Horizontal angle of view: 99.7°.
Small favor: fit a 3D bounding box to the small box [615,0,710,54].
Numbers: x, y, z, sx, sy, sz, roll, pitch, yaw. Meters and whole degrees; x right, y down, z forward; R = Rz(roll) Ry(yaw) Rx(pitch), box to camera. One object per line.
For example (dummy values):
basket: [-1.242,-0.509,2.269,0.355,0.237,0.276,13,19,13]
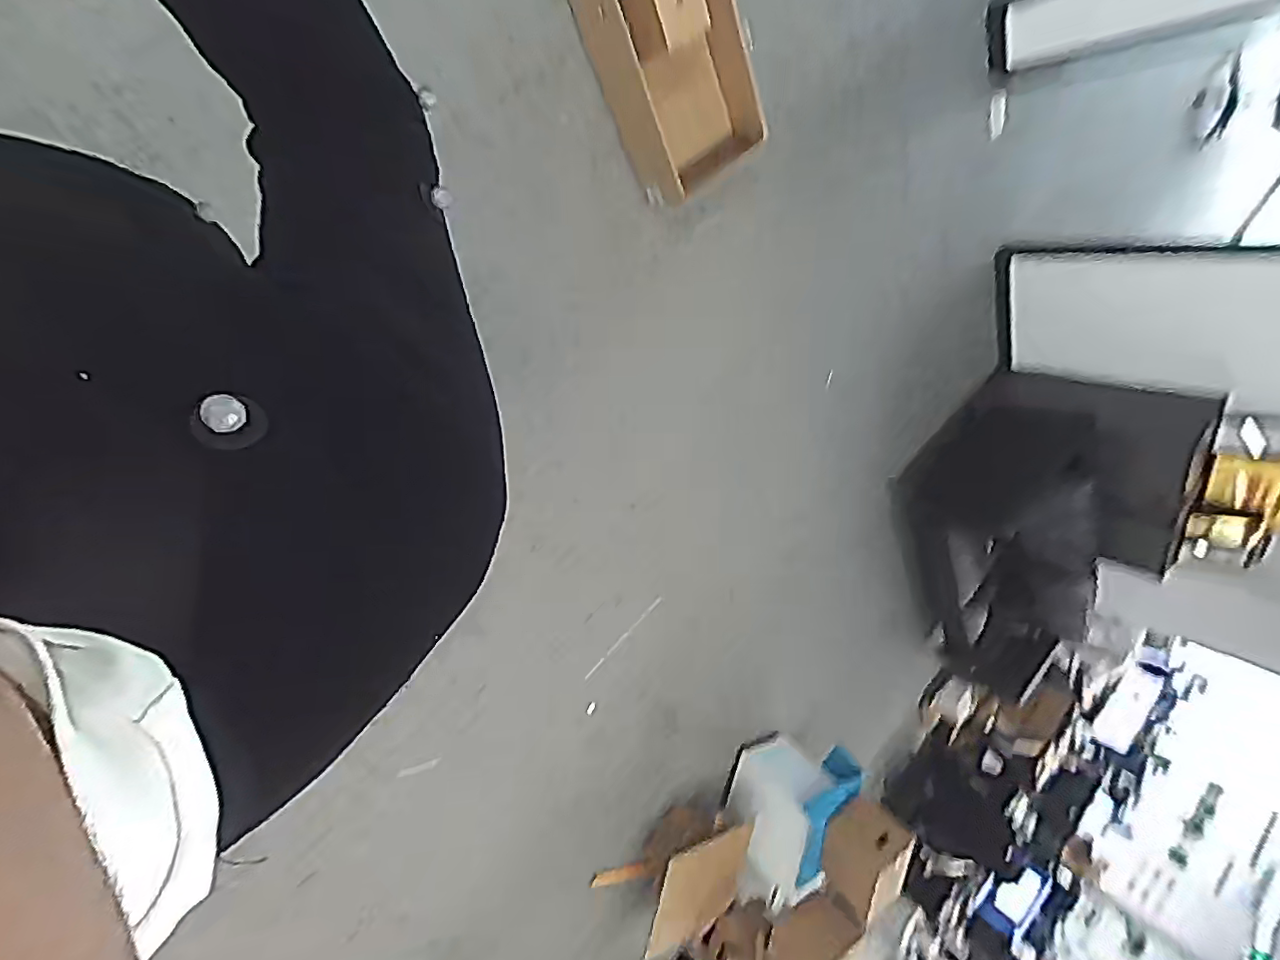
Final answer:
small box: [0.054,-1.286,1.457,0.168,0.176,0.179,-43,130,-17]
